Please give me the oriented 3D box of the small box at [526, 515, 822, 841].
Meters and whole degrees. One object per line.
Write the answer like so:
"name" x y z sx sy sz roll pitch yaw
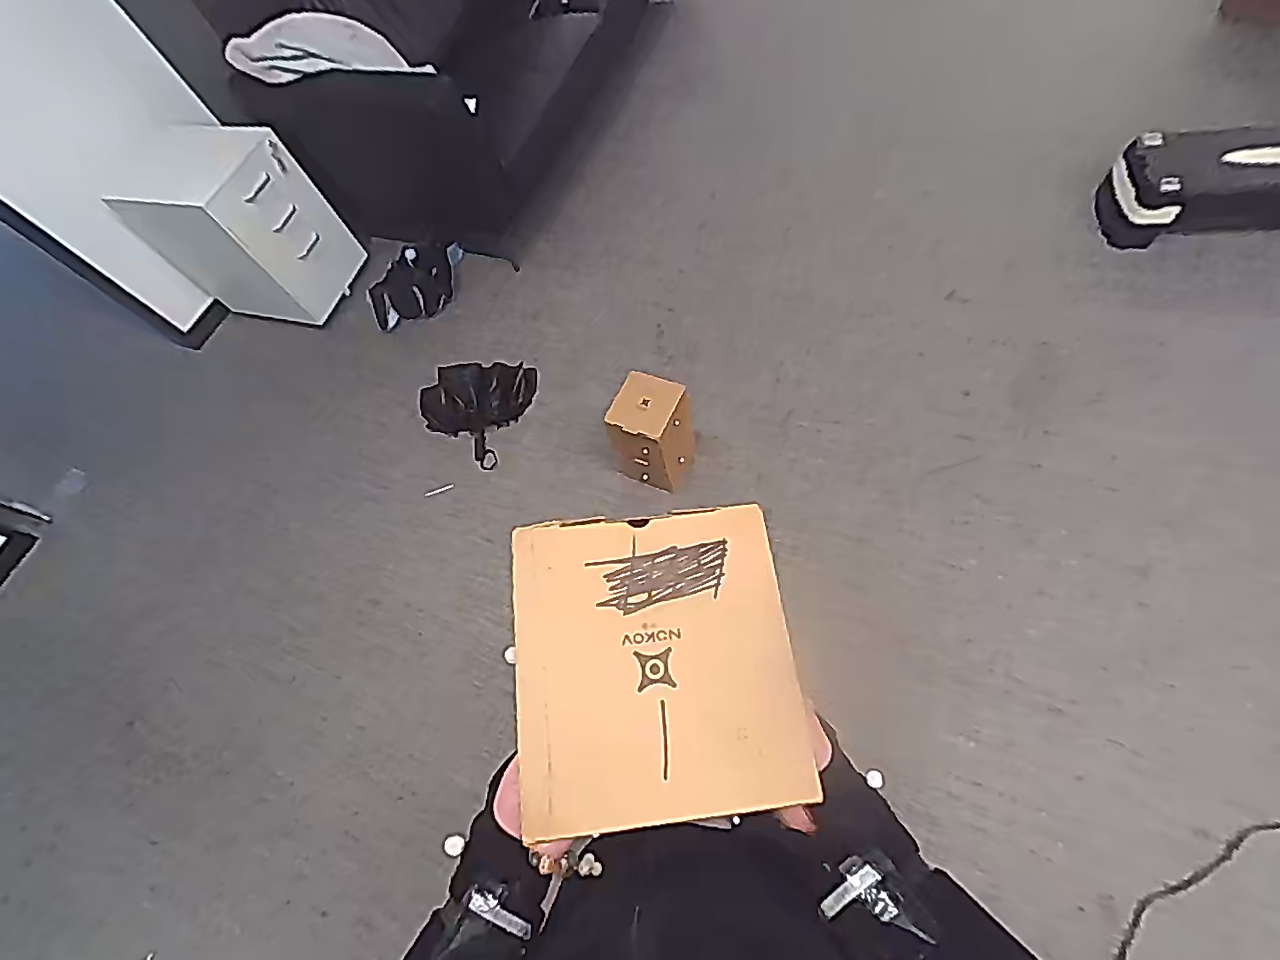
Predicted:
"small box" 0.009 0.139 0.399 0.168 0.176 0.179 -5 68 -4
